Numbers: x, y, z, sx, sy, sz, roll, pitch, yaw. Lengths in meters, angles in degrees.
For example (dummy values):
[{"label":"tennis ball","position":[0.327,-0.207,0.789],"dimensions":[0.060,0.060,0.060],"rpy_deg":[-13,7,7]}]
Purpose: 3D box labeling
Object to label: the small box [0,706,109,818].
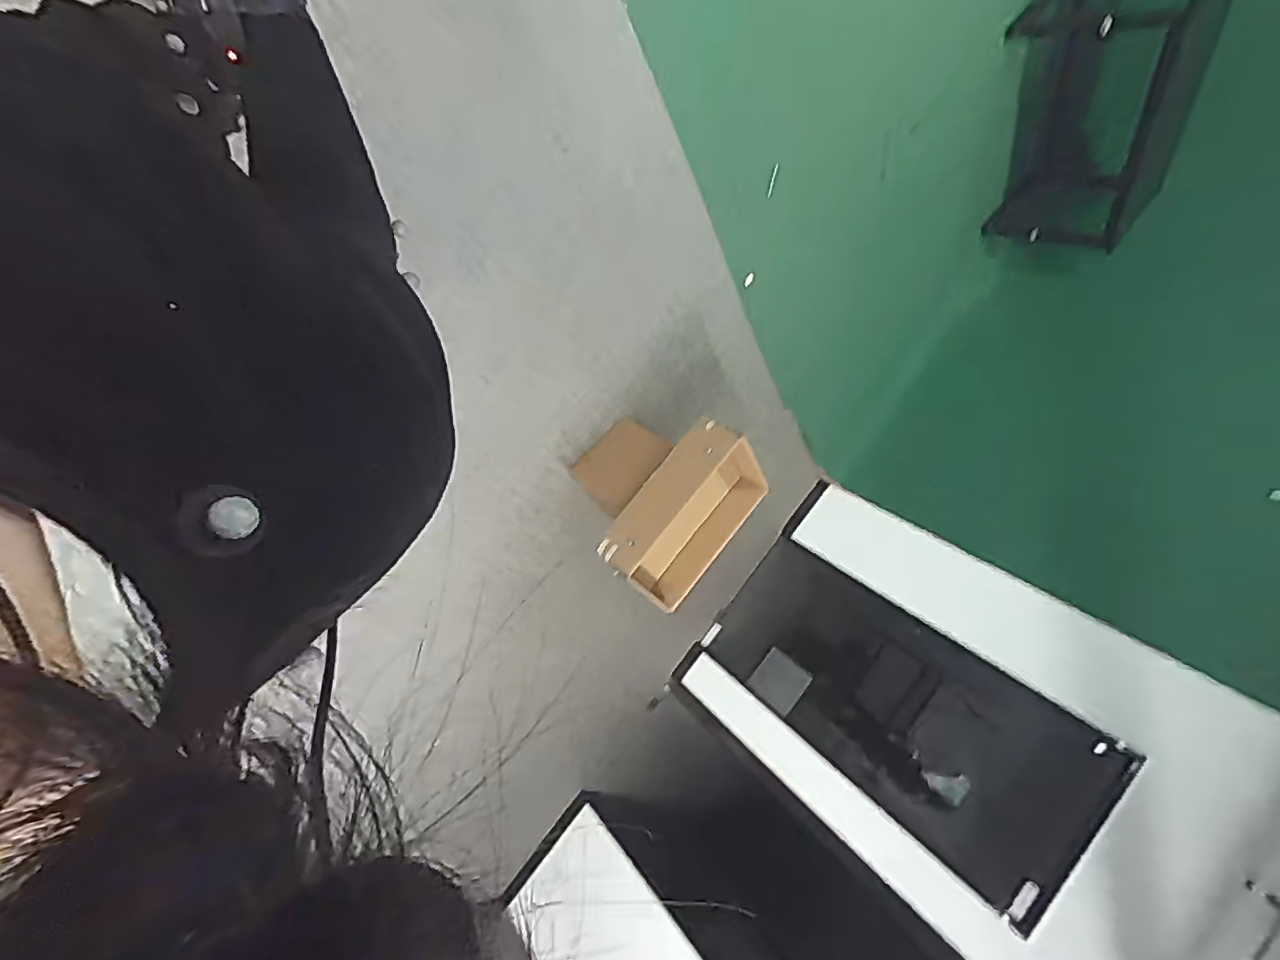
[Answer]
[{"label":"small box","position":[-1.419,0.660,1.274],"dimensions":[0.168,0.176,0.179],"rpy_deg":[-51,143,-6]}]
